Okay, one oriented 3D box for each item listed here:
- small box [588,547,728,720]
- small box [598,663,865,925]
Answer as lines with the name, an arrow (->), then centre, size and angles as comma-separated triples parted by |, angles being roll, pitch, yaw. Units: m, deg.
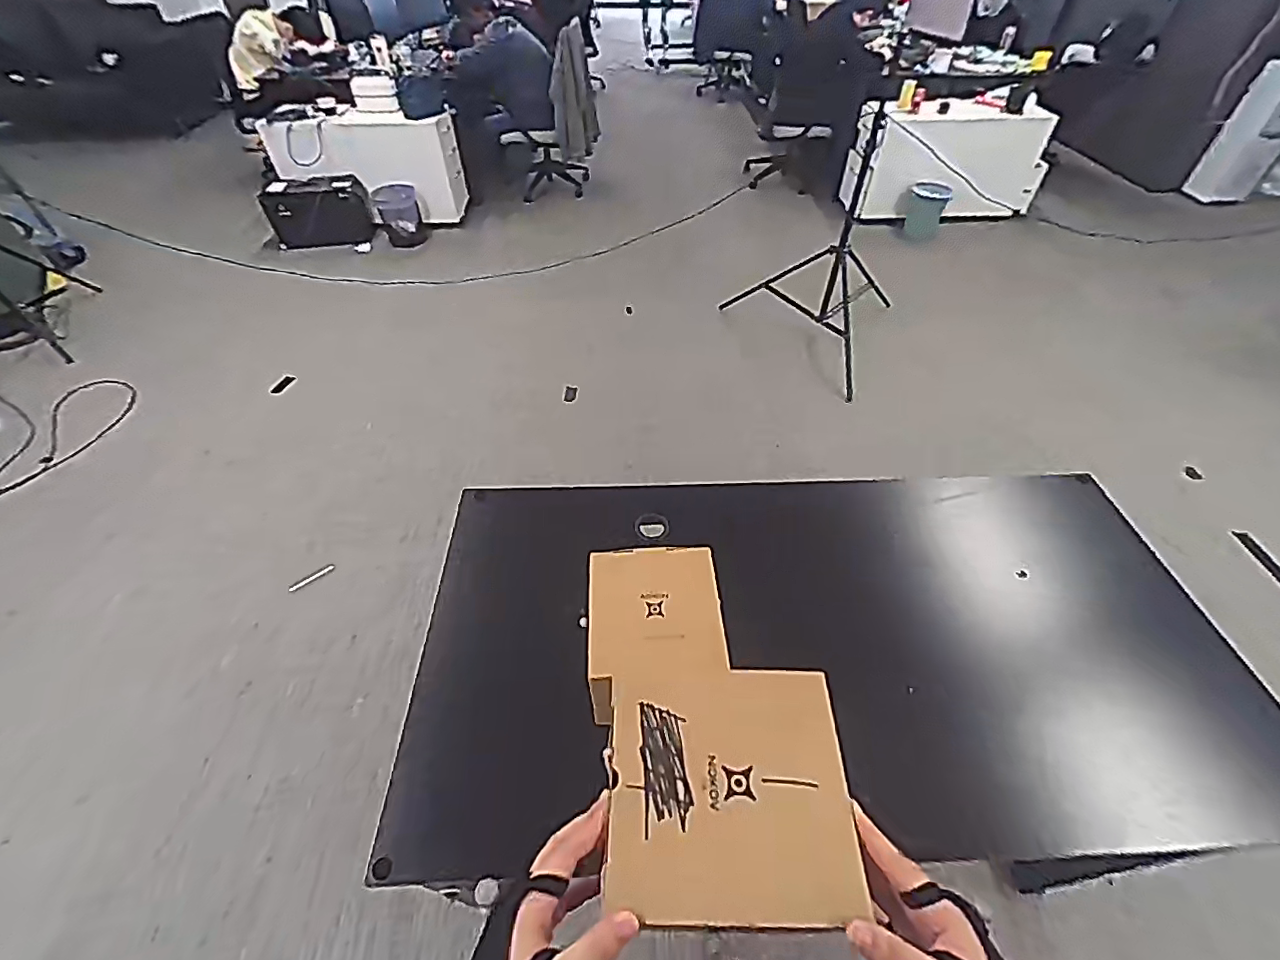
small box -> 0.018, 0.213, 0.737 | 0.168, 0.176, 0.179 | -4, 48, -1
small box -> 0.062, 0.269, 0.460 | 0.179, 0.176, 0.168 | 0, 50, 1
